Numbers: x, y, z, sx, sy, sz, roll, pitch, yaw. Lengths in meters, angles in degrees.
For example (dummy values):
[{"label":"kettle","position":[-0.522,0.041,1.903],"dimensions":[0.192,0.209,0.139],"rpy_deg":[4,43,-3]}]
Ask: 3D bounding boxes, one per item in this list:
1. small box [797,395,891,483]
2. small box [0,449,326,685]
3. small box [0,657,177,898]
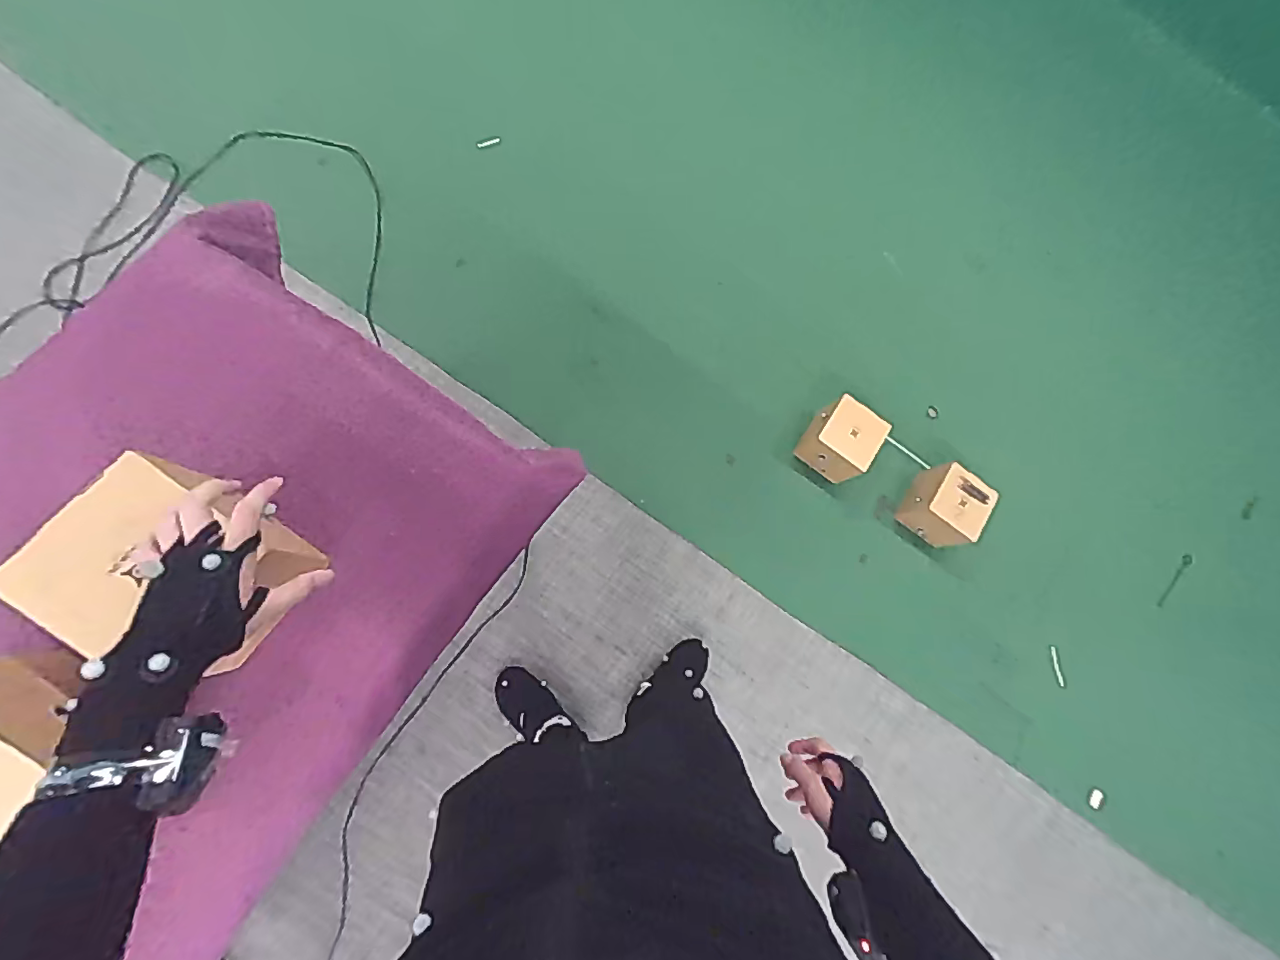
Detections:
[{"label":"small box","position":[0.590,-0.113,1.592],"dimensions":[0.168,0.176,0.179],"rpy_deg":[36,73,0]},{"label":"small box","position":[-0.500,0.097,0.597],"dimensions":[0.179,0.176,0.168],"rpy_deg":[36,75,0]},{"label":"small box","position":[-0.633,0.293,0.531],"dimensions":[0.179,0.176,0.168],"rpy_deg":[37,74,-1]}]
